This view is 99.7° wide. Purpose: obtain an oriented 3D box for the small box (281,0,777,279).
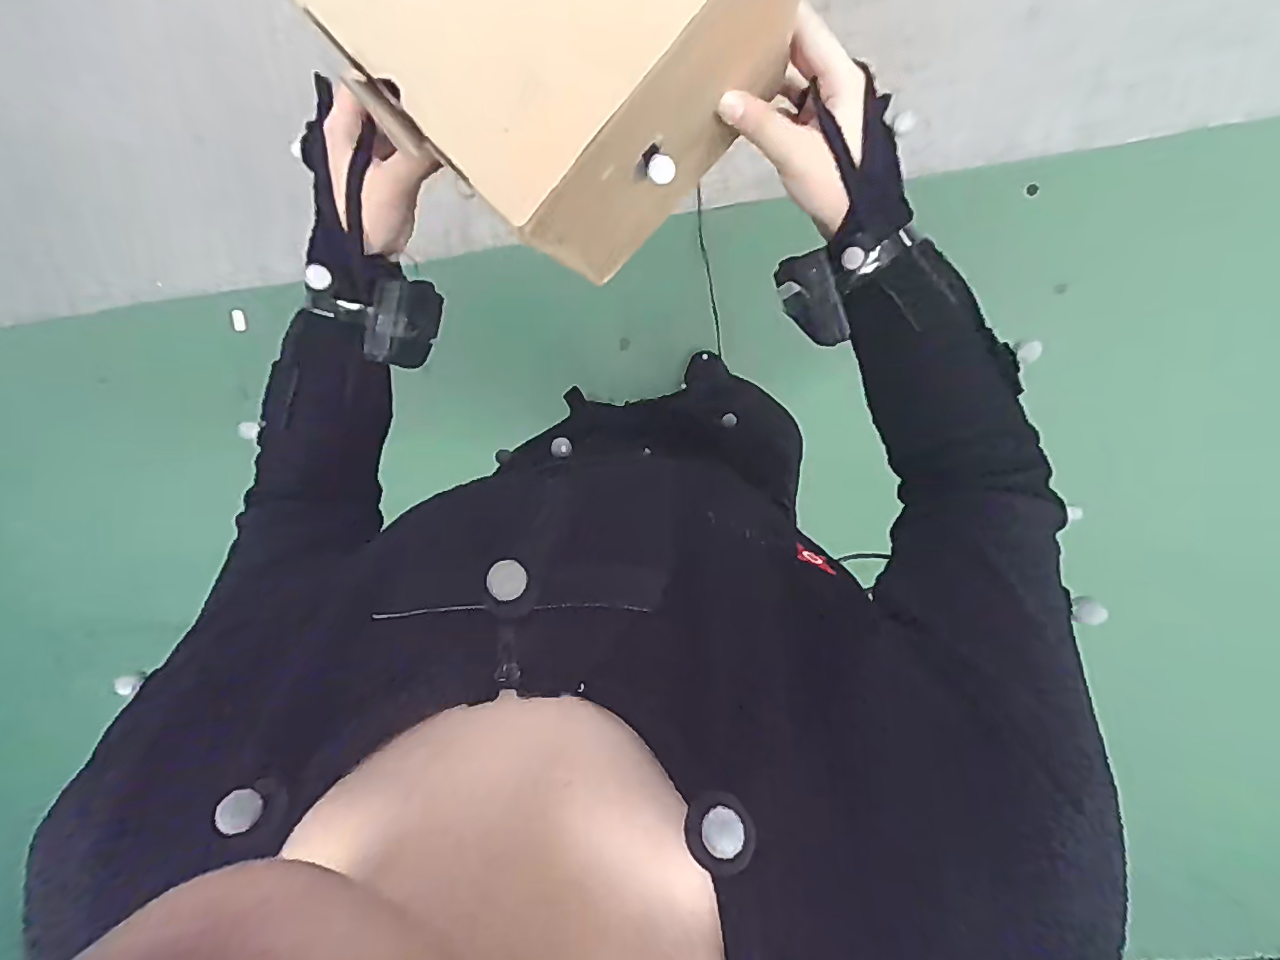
[{"bbox_3d":[-0.037,-0.238,0.300,0.168,0.176,0.179,45,106,-2],"label":"small box"}]
